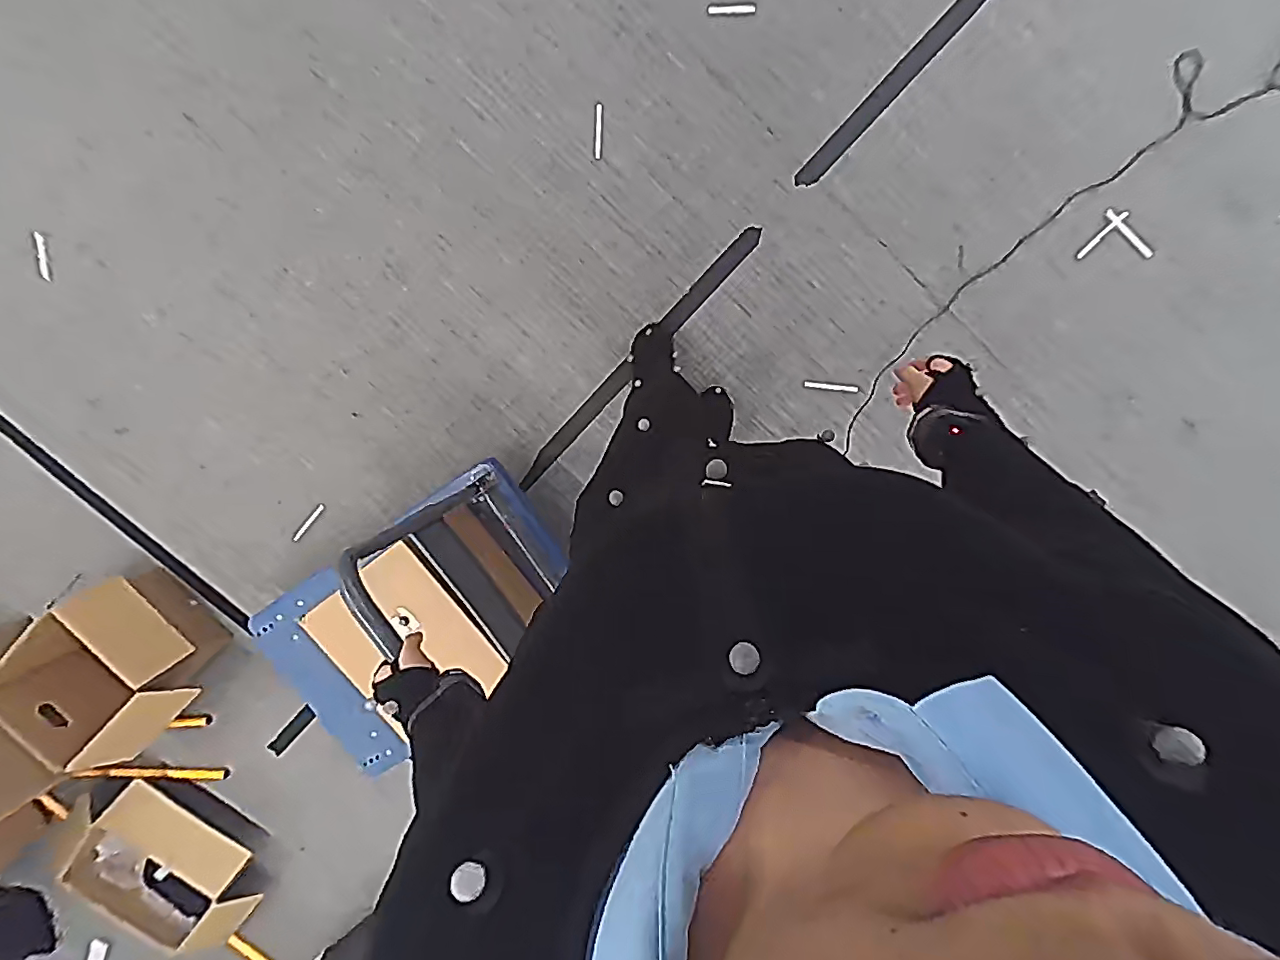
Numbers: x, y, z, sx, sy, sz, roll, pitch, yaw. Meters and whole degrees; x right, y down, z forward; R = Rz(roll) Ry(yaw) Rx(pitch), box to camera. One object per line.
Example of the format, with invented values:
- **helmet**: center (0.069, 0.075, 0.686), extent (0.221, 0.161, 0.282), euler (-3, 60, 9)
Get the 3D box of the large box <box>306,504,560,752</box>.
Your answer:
- **large box**: center (-0.456, 0.329, 1.281), extent (0.320, 0.320, 0.408), euler (-36, 96, 10)
